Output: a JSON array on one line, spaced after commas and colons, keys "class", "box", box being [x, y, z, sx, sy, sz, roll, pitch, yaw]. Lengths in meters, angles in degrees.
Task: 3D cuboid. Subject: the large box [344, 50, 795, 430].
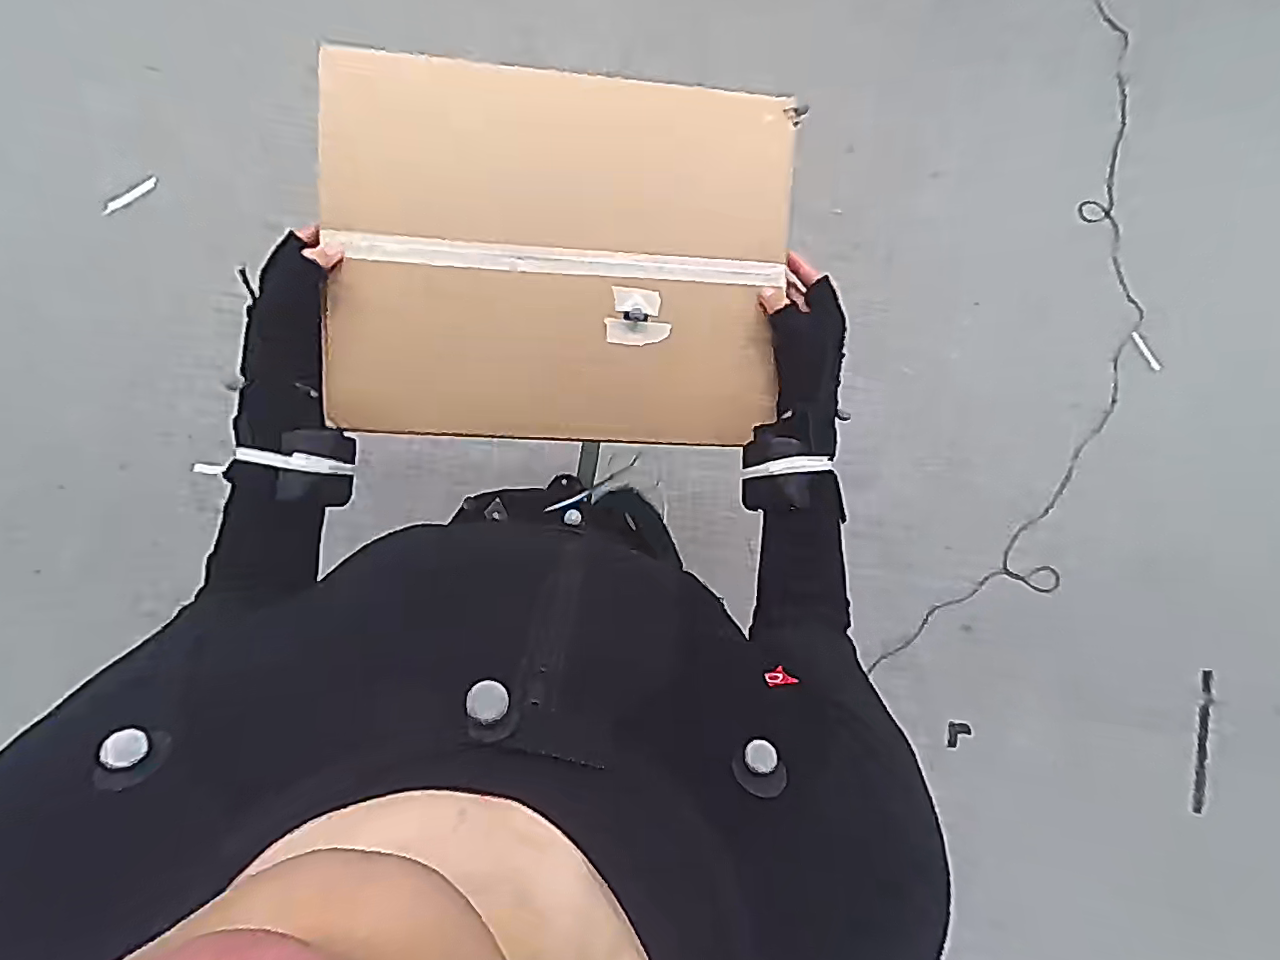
[{"class": "large box", "box": [-0.077, -0.222, 0.639, 0.408, 0.320, 0.320, 2, 97, -7]}]
